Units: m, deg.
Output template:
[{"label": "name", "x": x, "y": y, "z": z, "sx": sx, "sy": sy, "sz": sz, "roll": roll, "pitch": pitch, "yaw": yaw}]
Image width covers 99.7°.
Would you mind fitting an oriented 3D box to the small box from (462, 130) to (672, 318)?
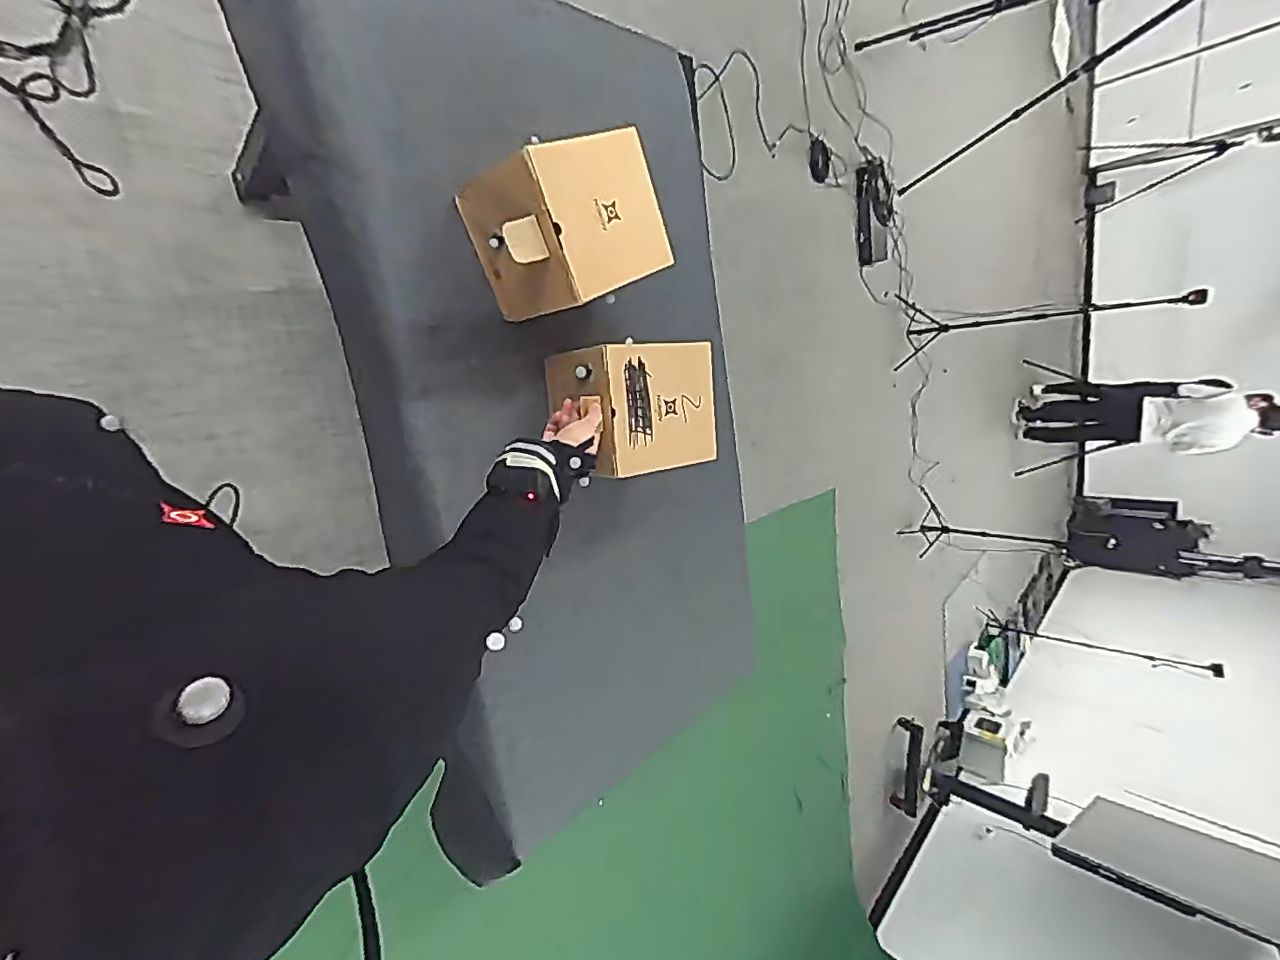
[{"label": "small box", "x": -0.093, "y": -0.322, "z": 0.697, "sx": 0.179, "sy": 0.176, "sz": 0.168, "roll": -38, "pitch": 119, "yaw": -35}]
